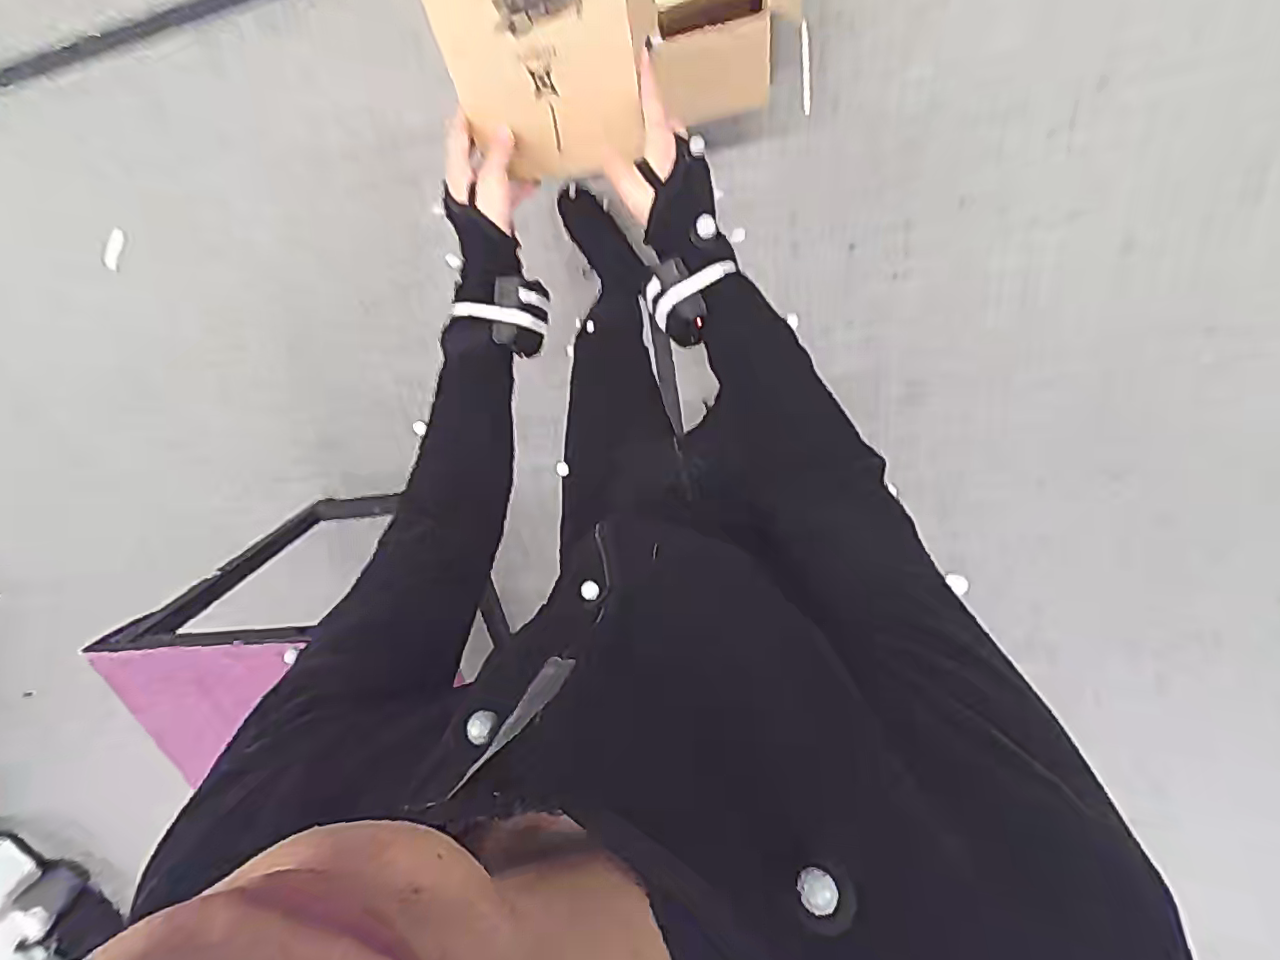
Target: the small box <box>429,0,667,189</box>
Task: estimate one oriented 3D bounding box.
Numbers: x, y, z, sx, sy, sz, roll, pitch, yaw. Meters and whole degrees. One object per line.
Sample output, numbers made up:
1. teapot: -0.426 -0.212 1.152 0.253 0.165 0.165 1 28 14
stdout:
1. small box: -0.070 -0.405 0.509 0.168 0.176 0.179 -1 137 12
